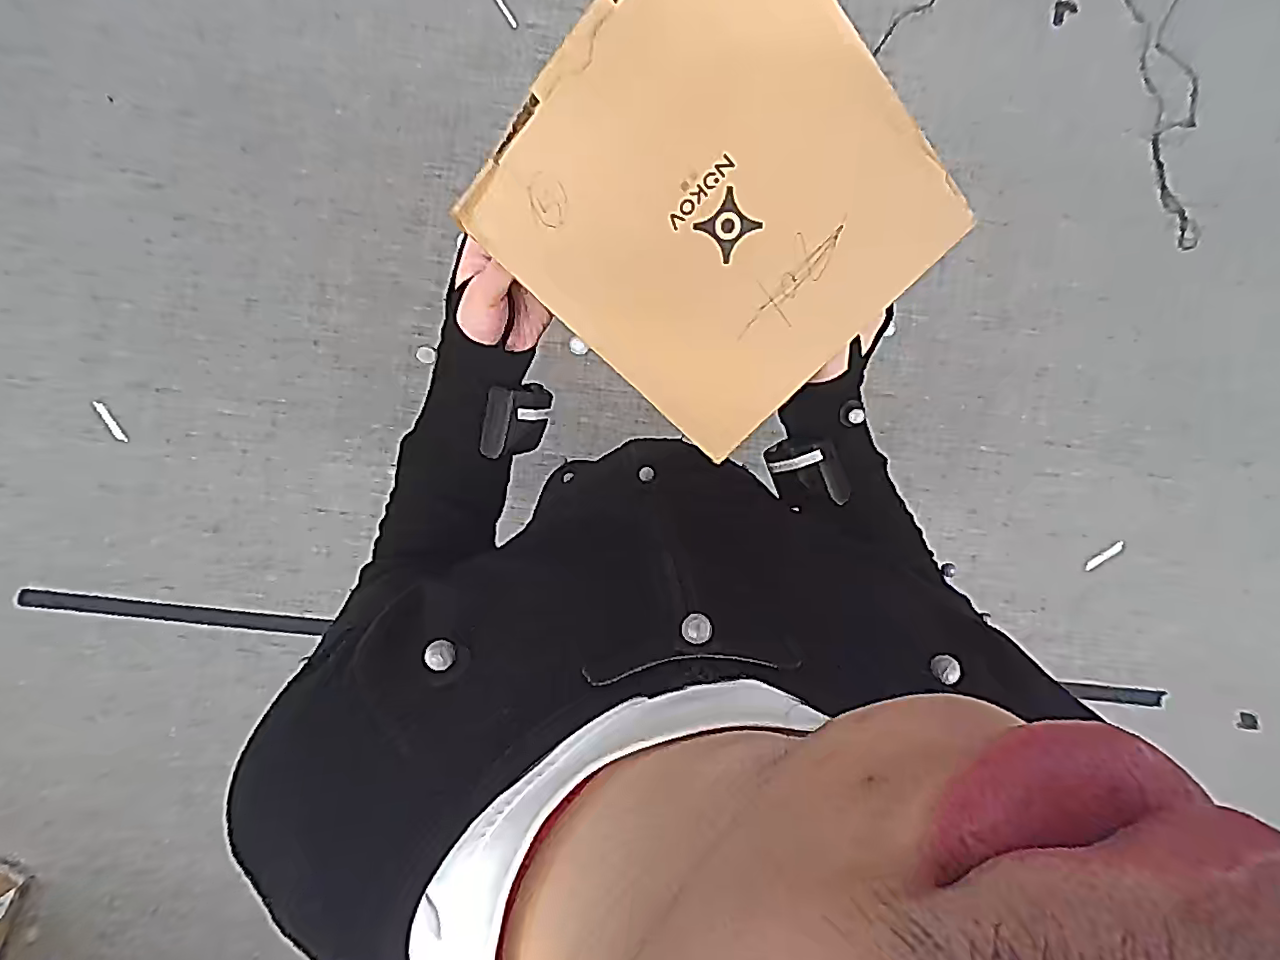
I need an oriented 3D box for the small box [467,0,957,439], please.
[{"bbox_3d":[0.031,-0.160,0.324,0.179,0.176,0.168,39,107,-21],"label":"small box"}]
